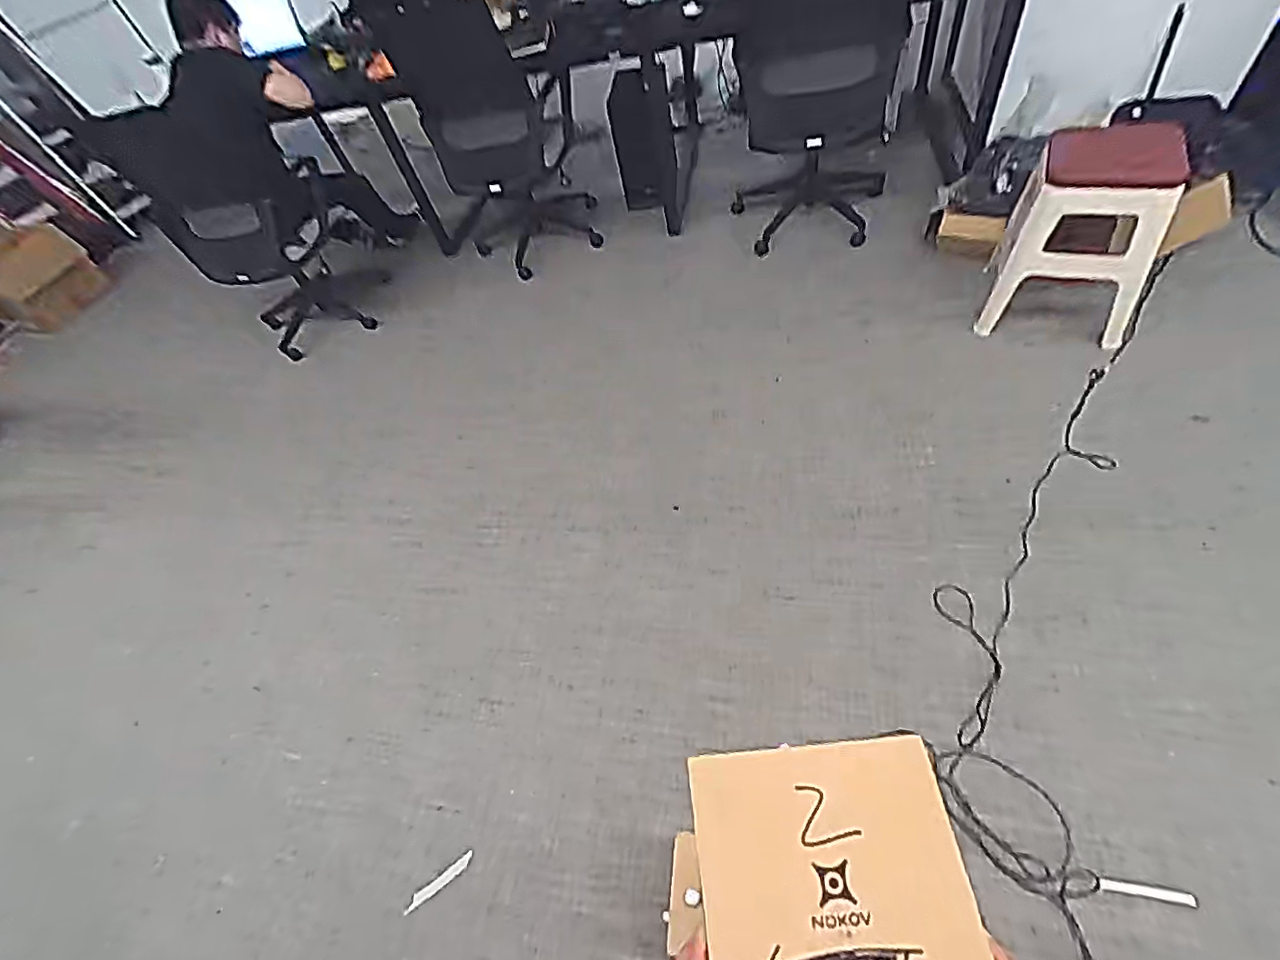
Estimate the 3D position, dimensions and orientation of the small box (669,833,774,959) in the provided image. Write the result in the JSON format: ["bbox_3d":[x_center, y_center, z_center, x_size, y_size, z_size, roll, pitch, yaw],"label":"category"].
[{"bbox_3d":[0.155,0.758,0.977,0.168,0.176,0.179,-1,54,14],"label":"small box"}]
